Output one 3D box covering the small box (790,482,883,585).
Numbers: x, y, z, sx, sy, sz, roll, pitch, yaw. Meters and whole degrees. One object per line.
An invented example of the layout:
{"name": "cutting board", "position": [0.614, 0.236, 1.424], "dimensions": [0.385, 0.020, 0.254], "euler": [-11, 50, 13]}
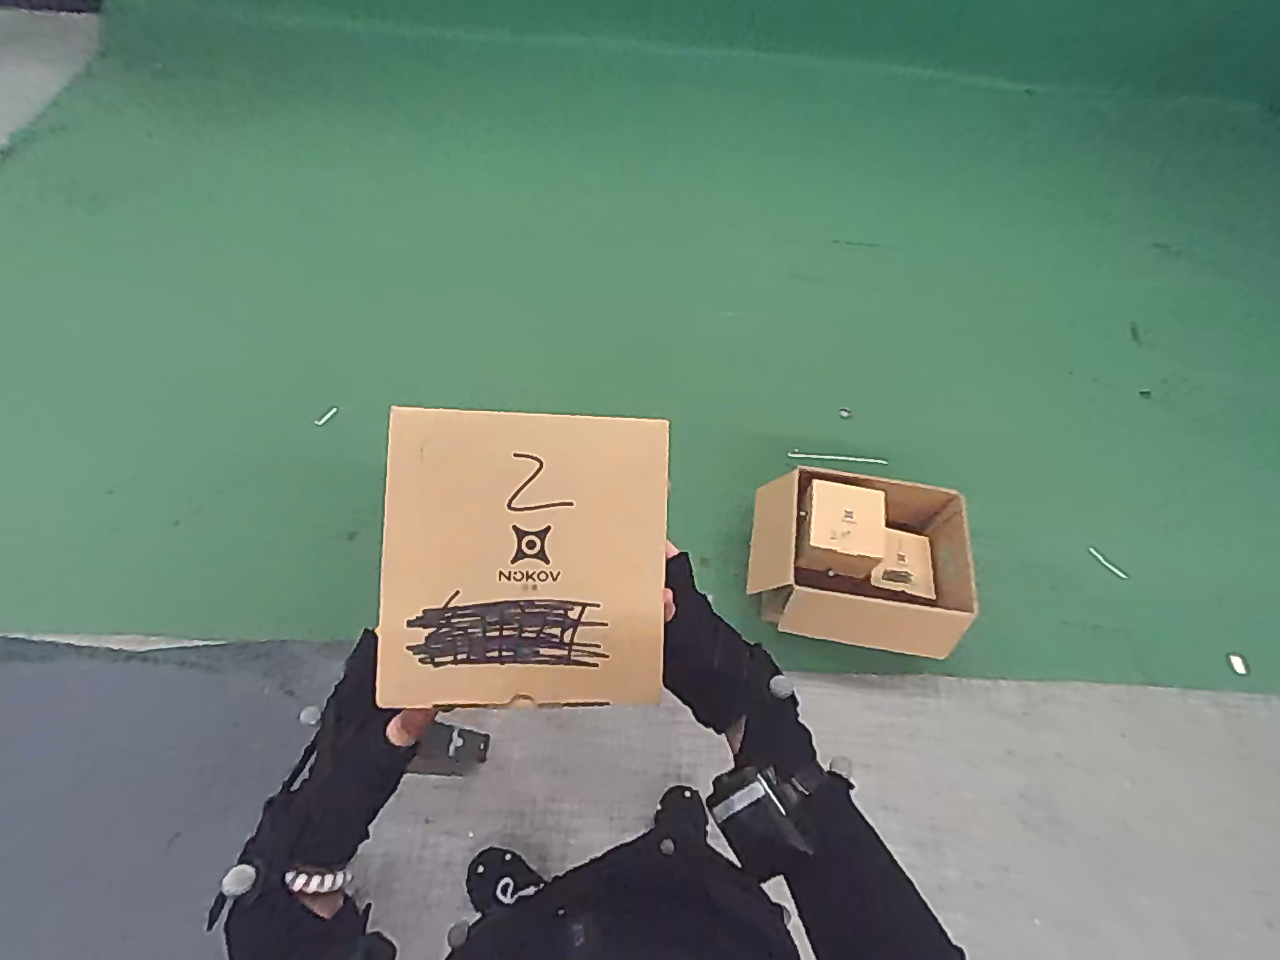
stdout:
{"name": "small box", "position": [0.467, 0.132, 1.297], "dimensions": [0.168, 0.176, 0.179], "euler": [11, 61, 5]}
